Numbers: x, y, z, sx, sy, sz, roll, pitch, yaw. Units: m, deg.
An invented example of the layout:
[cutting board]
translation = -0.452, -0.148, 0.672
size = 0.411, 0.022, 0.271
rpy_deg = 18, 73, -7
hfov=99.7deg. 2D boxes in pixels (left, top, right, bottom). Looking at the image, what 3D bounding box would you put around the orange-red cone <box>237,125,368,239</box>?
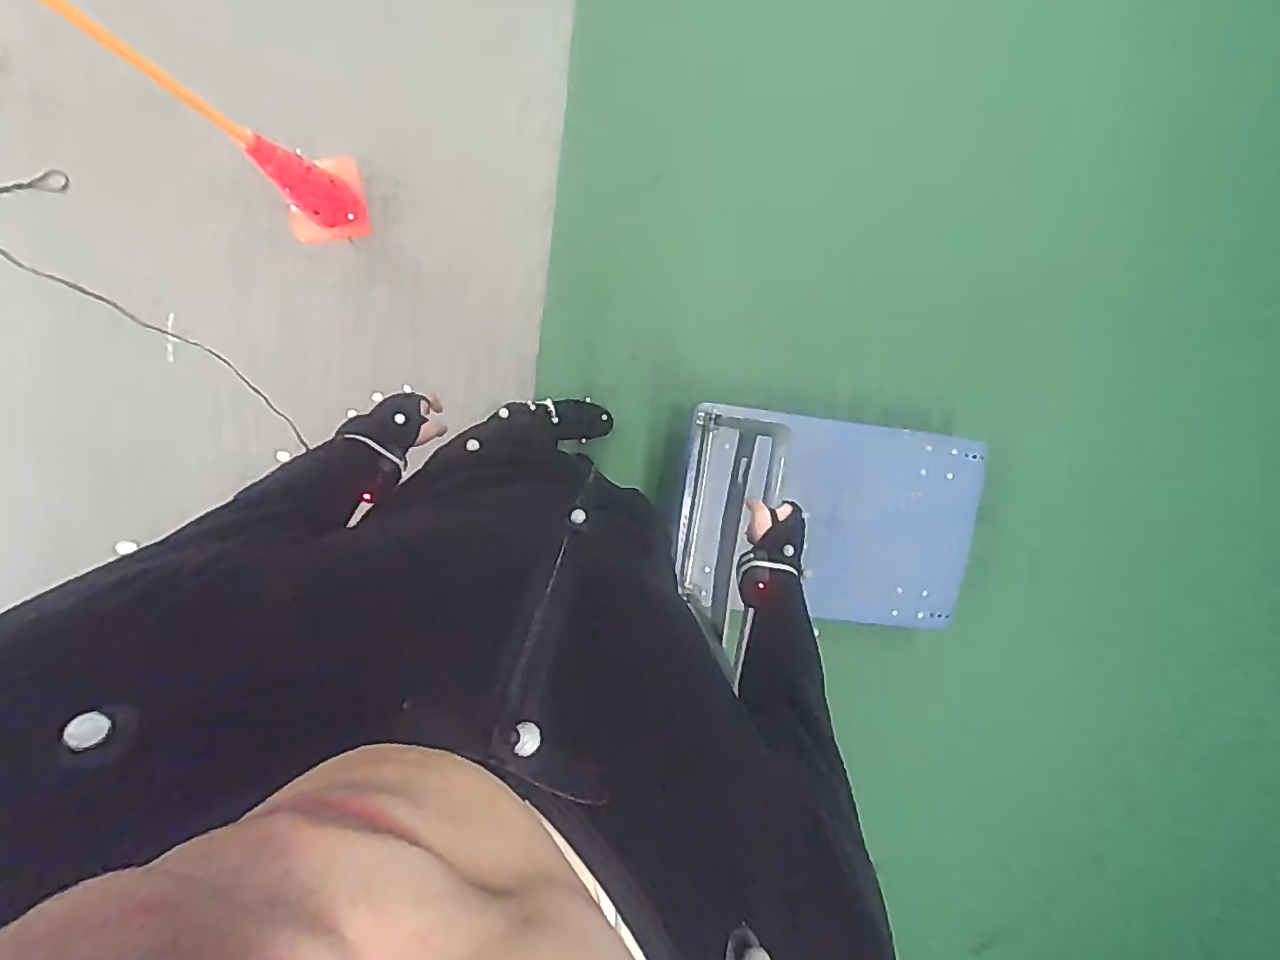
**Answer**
[orange-red cone]
translation = -0.826, -0.733, 1.281
size = 0.198, 0.360, 0.199
rpy_deg = -8, 97, -5
